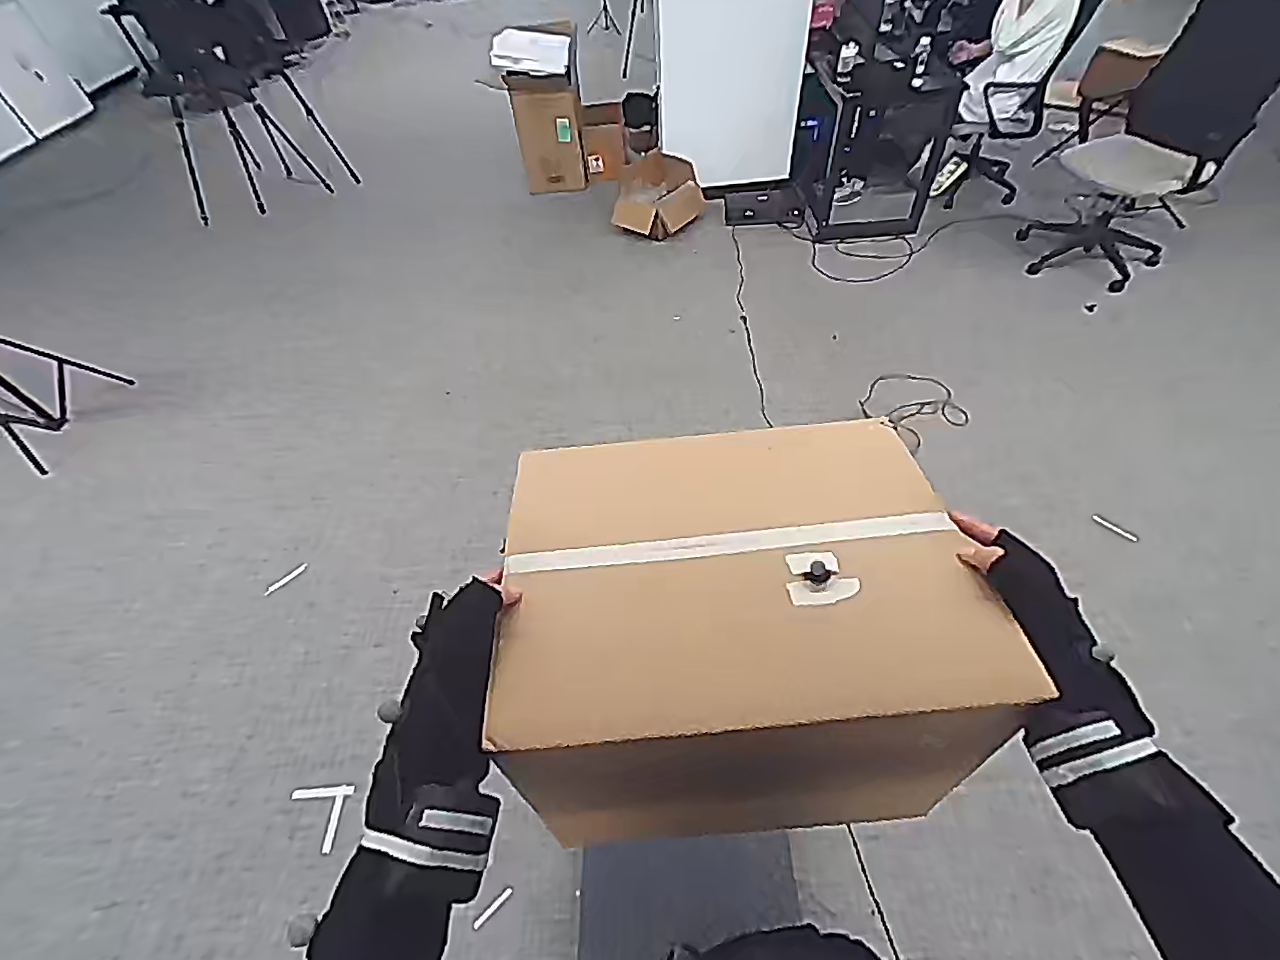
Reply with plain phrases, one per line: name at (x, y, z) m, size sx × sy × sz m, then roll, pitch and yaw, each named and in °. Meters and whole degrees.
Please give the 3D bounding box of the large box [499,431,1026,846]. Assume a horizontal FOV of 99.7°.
large box at (0.089, 0.177, 0.606) m, size 0.408 × 0.320 × 0.320 m, roll -6°, pitch 45°, yaw 0°
